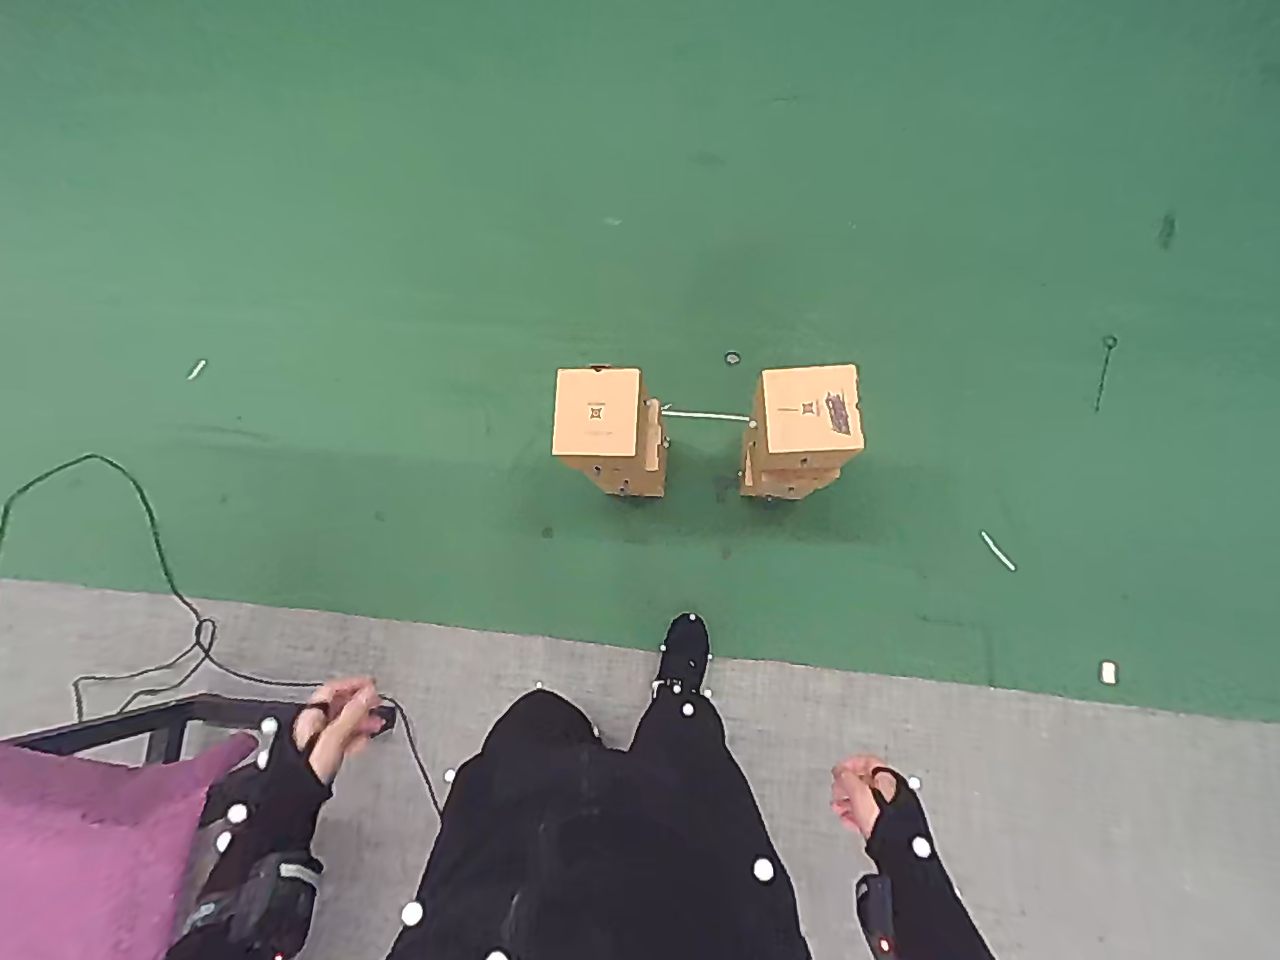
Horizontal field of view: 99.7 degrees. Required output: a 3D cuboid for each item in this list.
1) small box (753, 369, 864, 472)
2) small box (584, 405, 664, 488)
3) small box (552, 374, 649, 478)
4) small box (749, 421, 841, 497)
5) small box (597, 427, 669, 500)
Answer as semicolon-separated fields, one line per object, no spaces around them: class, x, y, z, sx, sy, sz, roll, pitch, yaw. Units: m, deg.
small box;0.327;-0.112;1.080;0.179;0.176;0.168;-3;80;6
small box;-0.033;-0.075;1.282;0.179;0.176;0.168;0;79;6
small box;-0.074;-0.108;1.125;0.168;0.176;0.179;2;80;9
small box;0.346;-0.065;1.239;0.168;0.176;0.179;-5;80;5
small box;-0.012;-0.044;1.441;0.168;0.176;0.179;3;79;7
